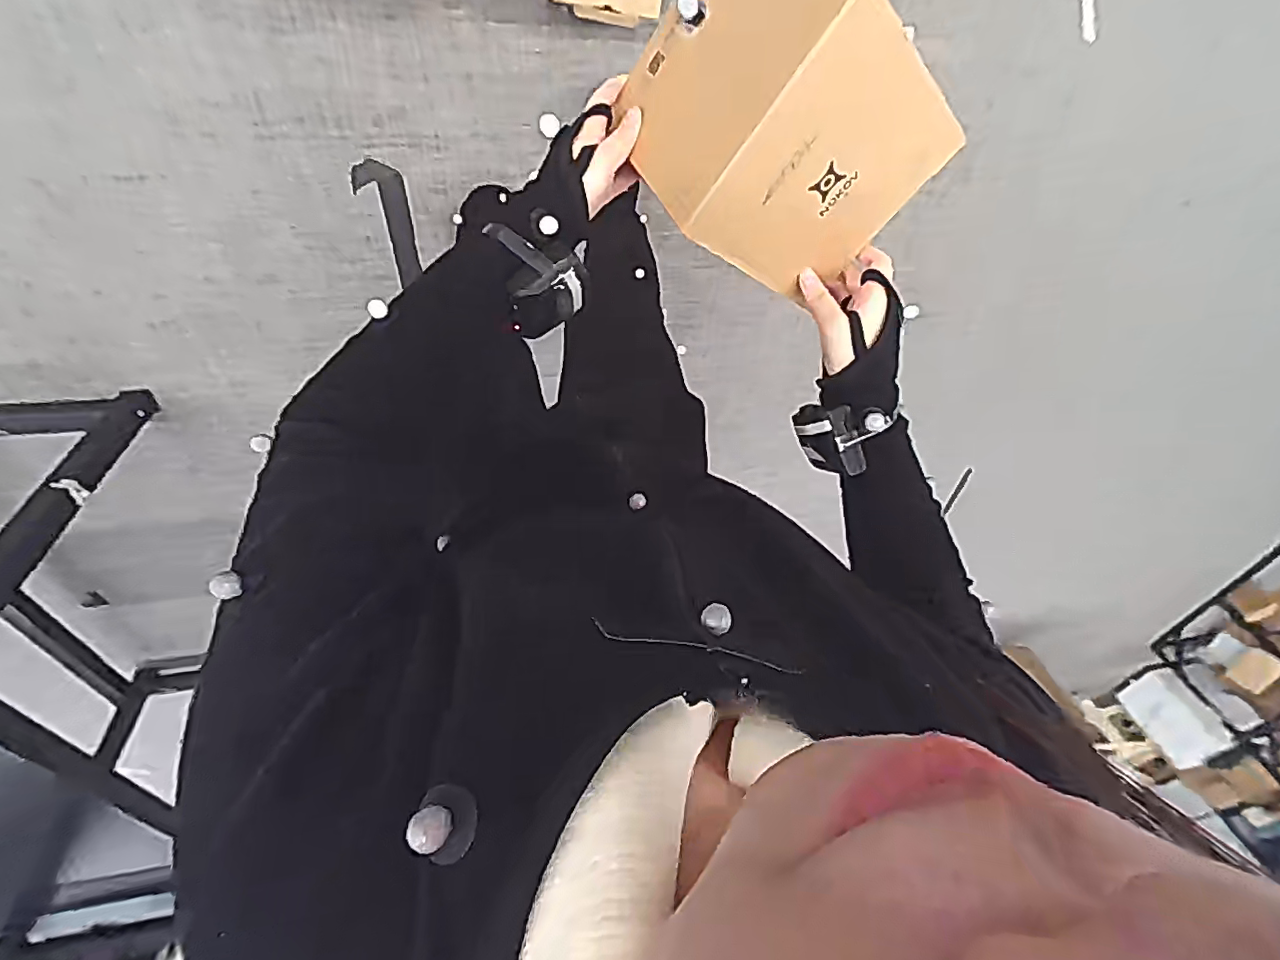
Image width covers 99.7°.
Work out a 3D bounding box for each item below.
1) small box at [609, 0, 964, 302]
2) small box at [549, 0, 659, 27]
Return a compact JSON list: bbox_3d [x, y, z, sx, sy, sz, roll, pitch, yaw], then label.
[{"bbox_3d":[0.106,-0.280,0.429,0.179,0.176,0.168,8,135,-44],"label":"small box"},{"bbox_3d":[-0.054,-0.820,0.818,0.168,0.176,0.179,-1,132,-15],"label":"small box"}]
